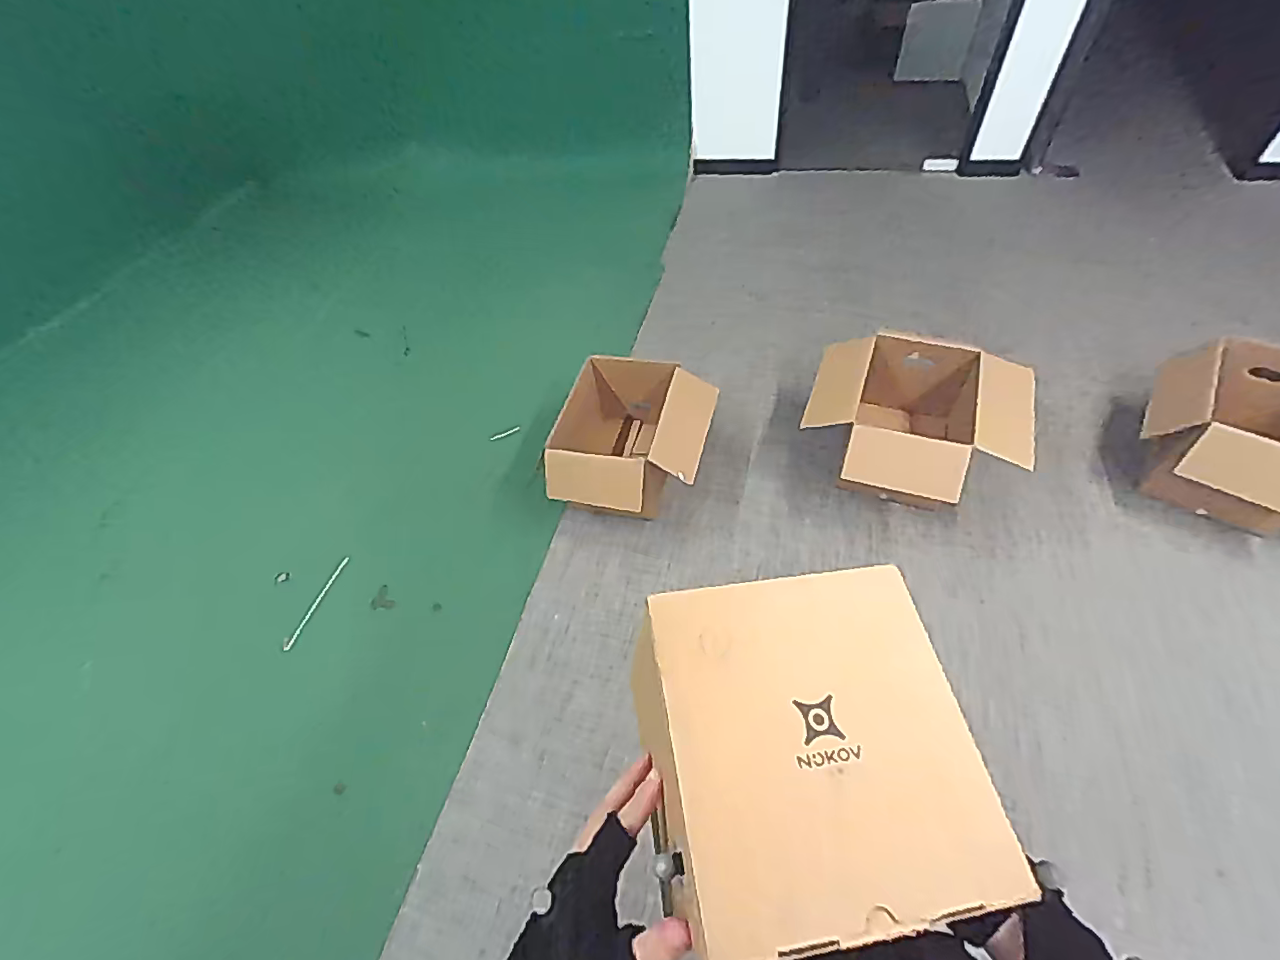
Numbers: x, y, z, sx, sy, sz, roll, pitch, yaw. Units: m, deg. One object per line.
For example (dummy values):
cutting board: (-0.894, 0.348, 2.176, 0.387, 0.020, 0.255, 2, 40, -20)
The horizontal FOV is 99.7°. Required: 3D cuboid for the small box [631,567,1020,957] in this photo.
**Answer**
small box: (0.089, 0.179, 0.365, 0.168, 0.176, 0.179, -6, 59, -9)
